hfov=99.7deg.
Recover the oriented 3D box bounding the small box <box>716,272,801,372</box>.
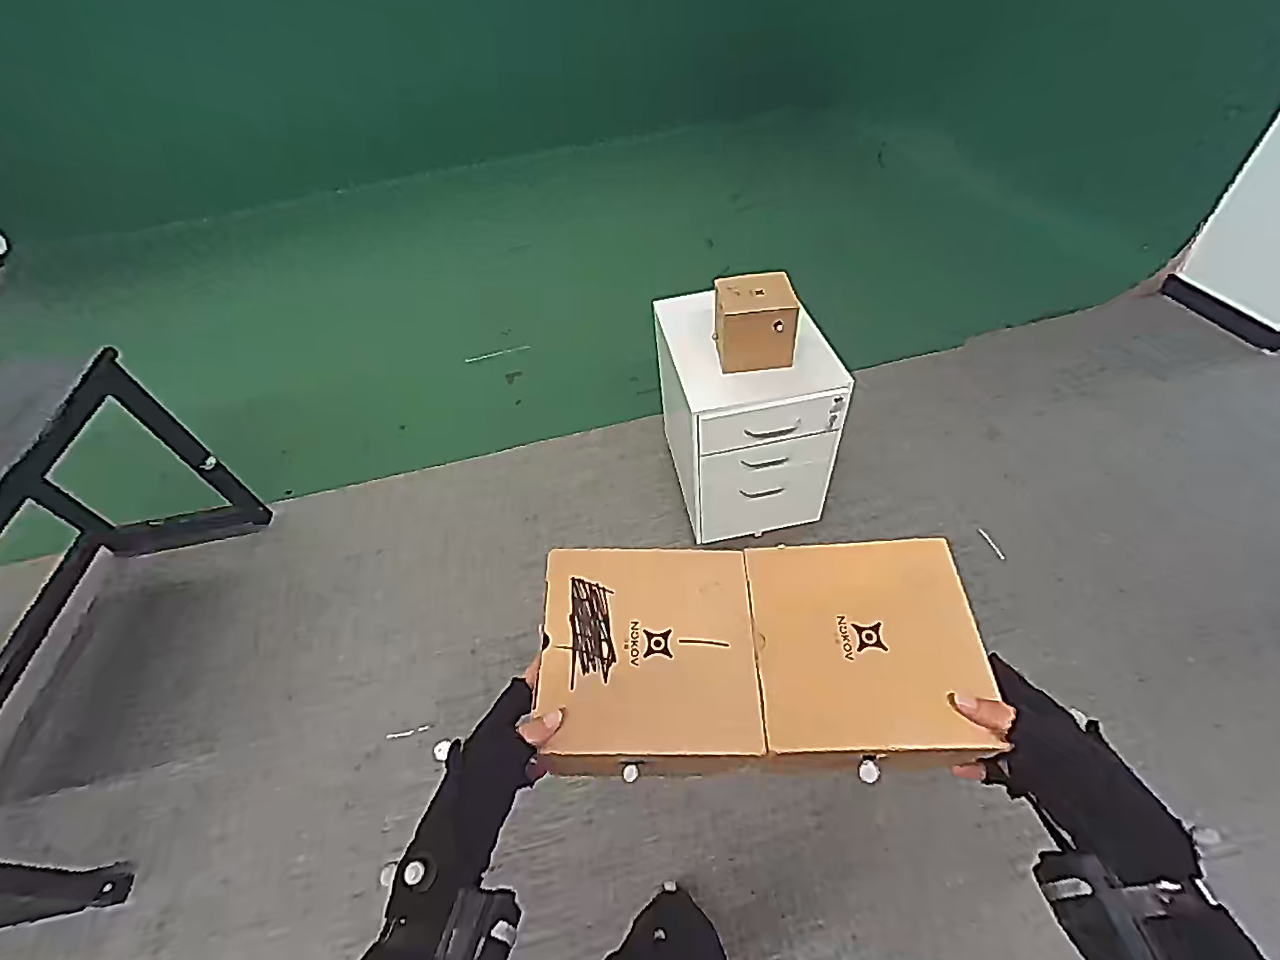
[{"bbox_3d":[0.283,-0.386,1.332,0.179,0.176,0.168,-6,48,4],"label":"small box"}]
